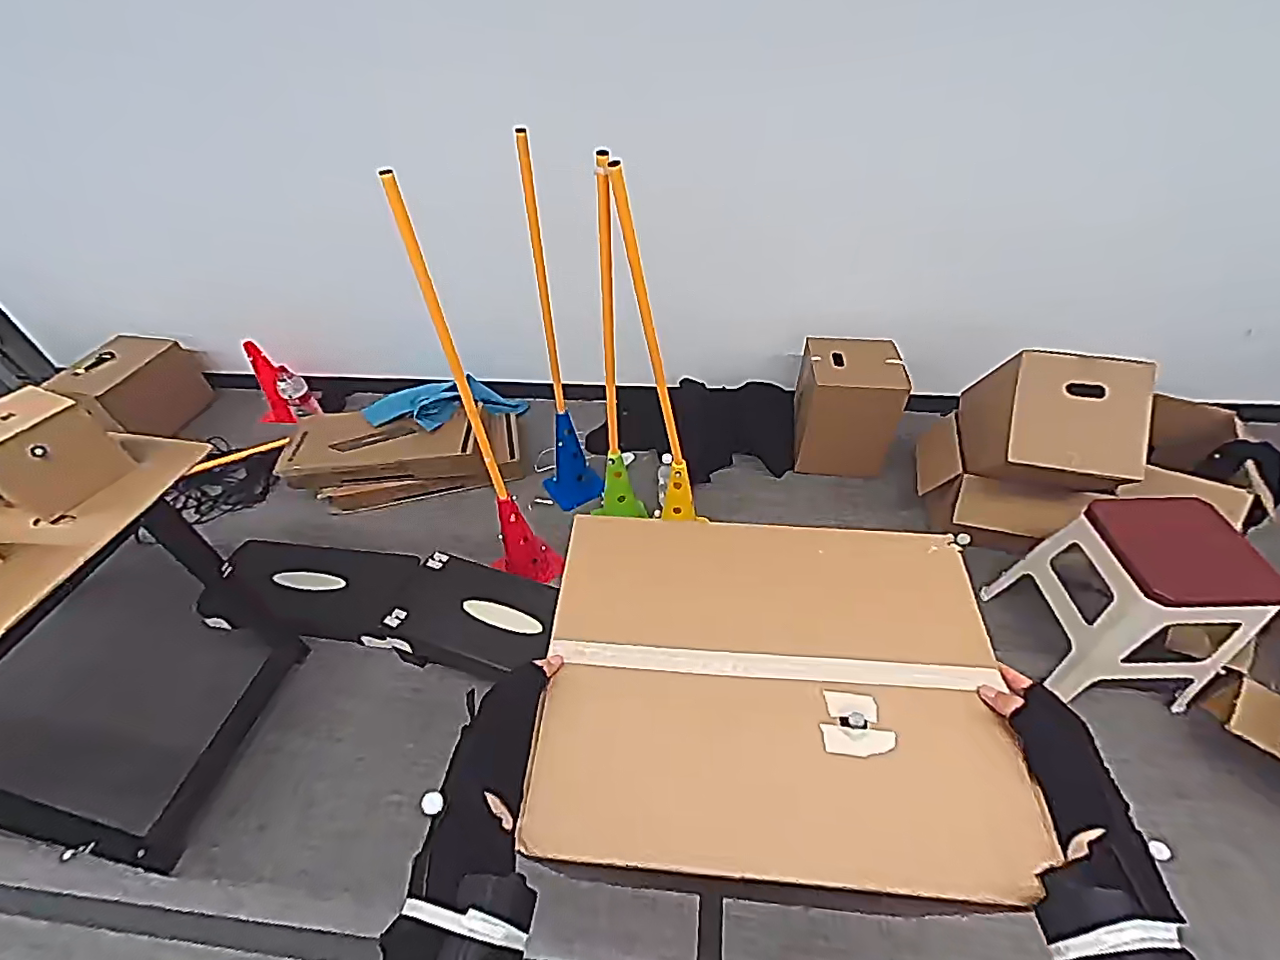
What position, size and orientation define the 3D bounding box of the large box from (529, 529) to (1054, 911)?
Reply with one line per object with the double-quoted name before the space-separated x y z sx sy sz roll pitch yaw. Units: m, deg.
"large box" 0.122 0.275 0.615 0.408 0.320 0.320 3 52 4
